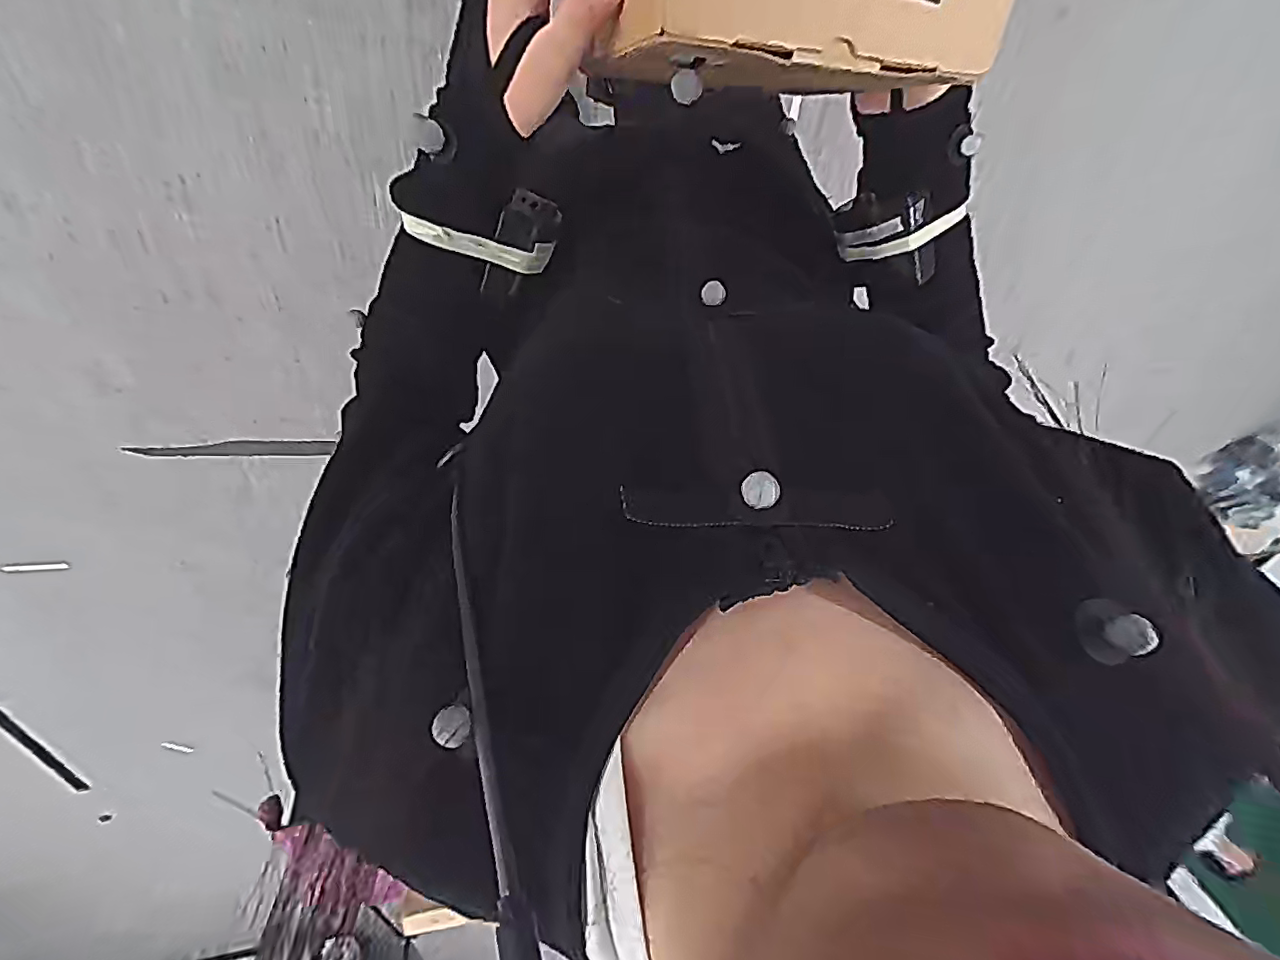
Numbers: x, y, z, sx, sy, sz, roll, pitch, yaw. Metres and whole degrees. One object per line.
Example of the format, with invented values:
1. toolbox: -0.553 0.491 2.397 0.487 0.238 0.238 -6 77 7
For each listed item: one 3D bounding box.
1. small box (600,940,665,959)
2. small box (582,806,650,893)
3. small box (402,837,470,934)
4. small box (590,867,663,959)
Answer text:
1. small box: -0.015 1.317 1.387 0.168 0.176 0.179 -1 129 -15
2. small box: -0.079 1.107 1.632 0.168 0.176 0.179 -1 129 -15
3. small box: -0.568 1.132 1.516 0.168 0.176 0.179 2 128 -18
4. small box: -0.045 1.215 1.513 0.168 0.176 0.179 -1 130 -15
